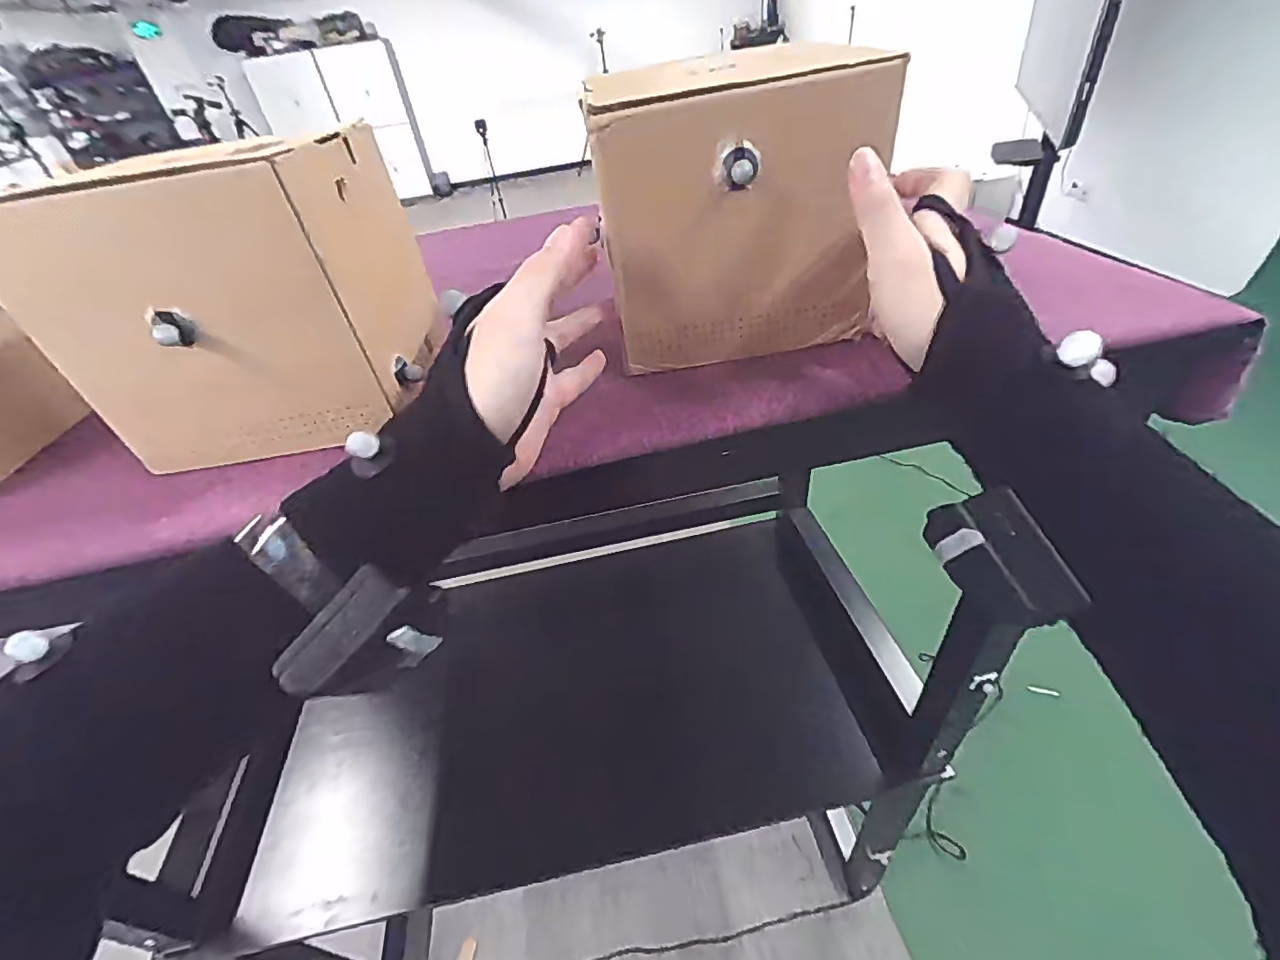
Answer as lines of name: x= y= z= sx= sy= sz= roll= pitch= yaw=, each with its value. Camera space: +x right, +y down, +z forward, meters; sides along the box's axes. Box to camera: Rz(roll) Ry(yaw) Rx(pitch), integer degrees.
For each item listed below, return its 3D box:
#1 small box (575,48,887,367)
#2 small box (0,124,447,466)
small box: x=0.056 y=-0.200 z=0.404 sx=0.179 sy=0.176 sz=0.168 roll=-9 pitch=41 yaw=2
small box: x=-0.260 y=-0.131 z=0.386 sx=0.179 sy=0.176 sz=0.168 roll=-10 pitch=39 yaw=1
